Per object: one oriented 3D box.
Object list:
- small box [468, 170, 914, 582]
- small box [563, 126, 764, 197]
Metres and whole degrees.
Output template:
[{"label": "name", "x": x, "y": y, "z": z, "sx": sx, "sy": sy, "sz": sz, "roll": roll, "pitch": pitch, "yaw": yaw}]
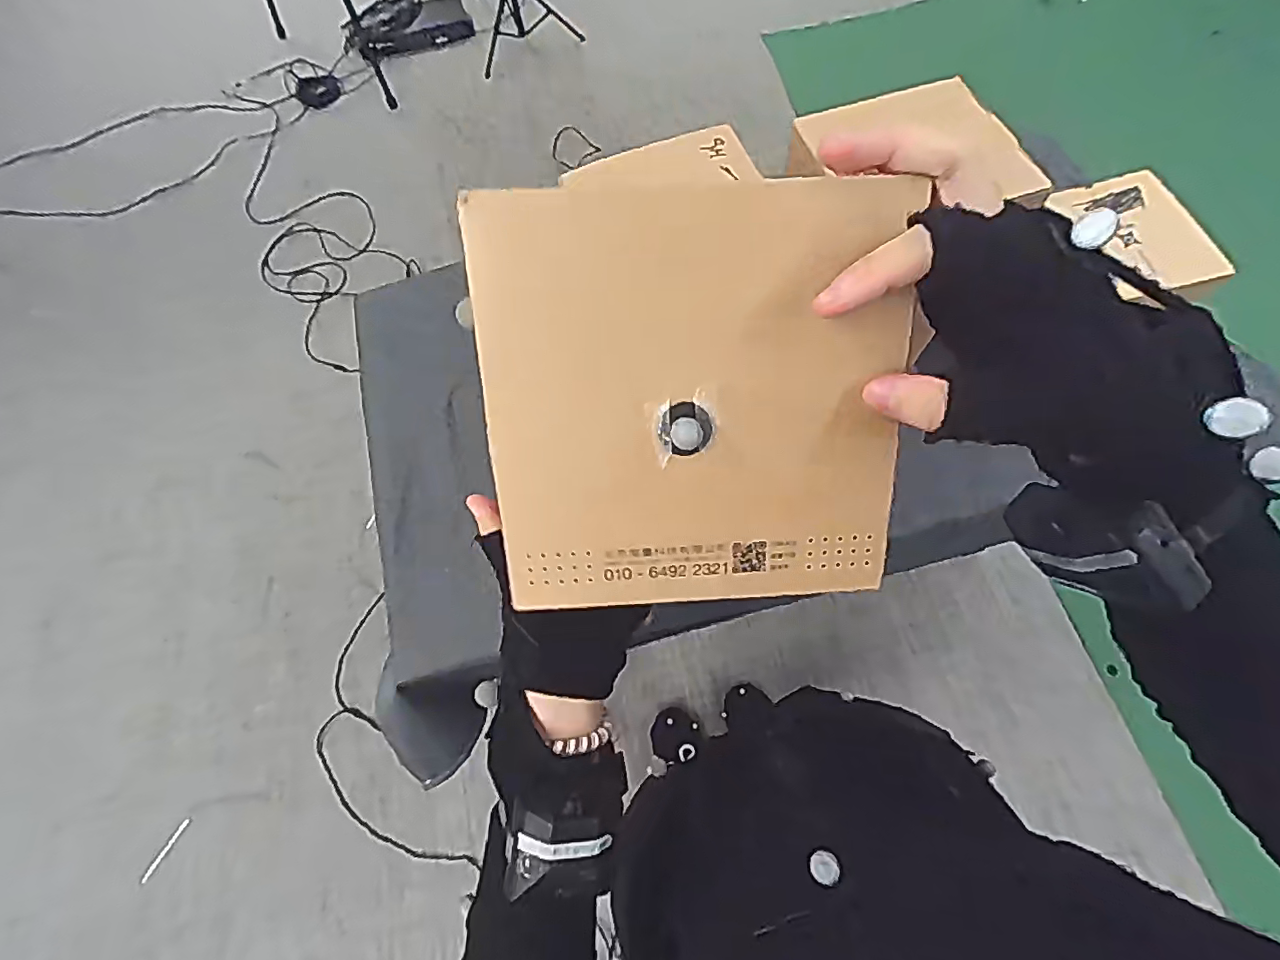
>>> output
[{"label": "small box", "x": 0.022, "y": -0.054, "z": 0.296, "sx": 0.168, "sy": 0.179, "sz": 0.176, "roll": -3, "pitch": 110, "yaw": -1}, {"label": "small box", "x": 0.039, "y": -0.217, "z": 0.566, "sx": 0.179, "sy": 0.176, "sz": 0.168, "roll": -20, "pitch": 69, "yaw": -3}]
